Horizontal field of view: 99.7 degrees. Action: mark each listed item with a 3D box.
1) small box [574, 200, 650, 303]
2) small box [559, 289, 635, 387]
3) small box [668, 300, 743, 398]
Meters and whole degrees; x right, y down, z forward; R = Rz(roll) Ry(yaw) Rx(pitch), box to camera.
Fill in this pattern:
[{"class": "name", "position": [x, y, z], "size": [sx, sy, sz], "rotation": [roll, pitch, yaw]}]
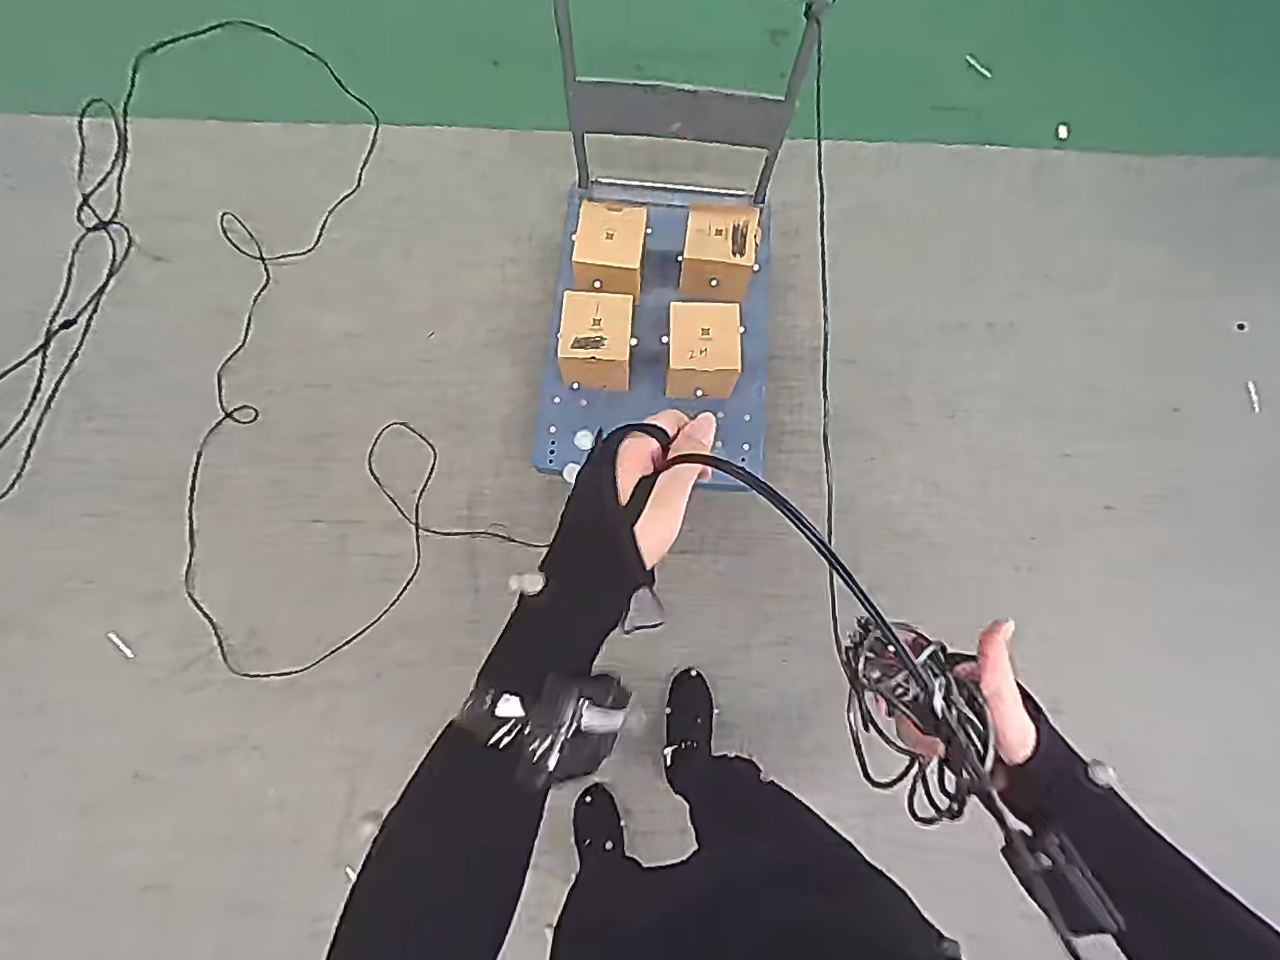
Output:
[{"class": "small box", "position": [-0.068, -0.580, 1.390], "size": [0.168, 0.176, 0.179], "rotation": [8, 75, 1]}, {"class": "small box", "position": [-0.099, -0.341, 1.328], "size": [0.168, 0.176, 0.179], "rotation": [4, 75, -1]}, {"class": "small box", "position": [0.155, -0.317, 1.327], "size": [0.168, 0.176, 0.179], "rotation": [2, 76, 0]}]
